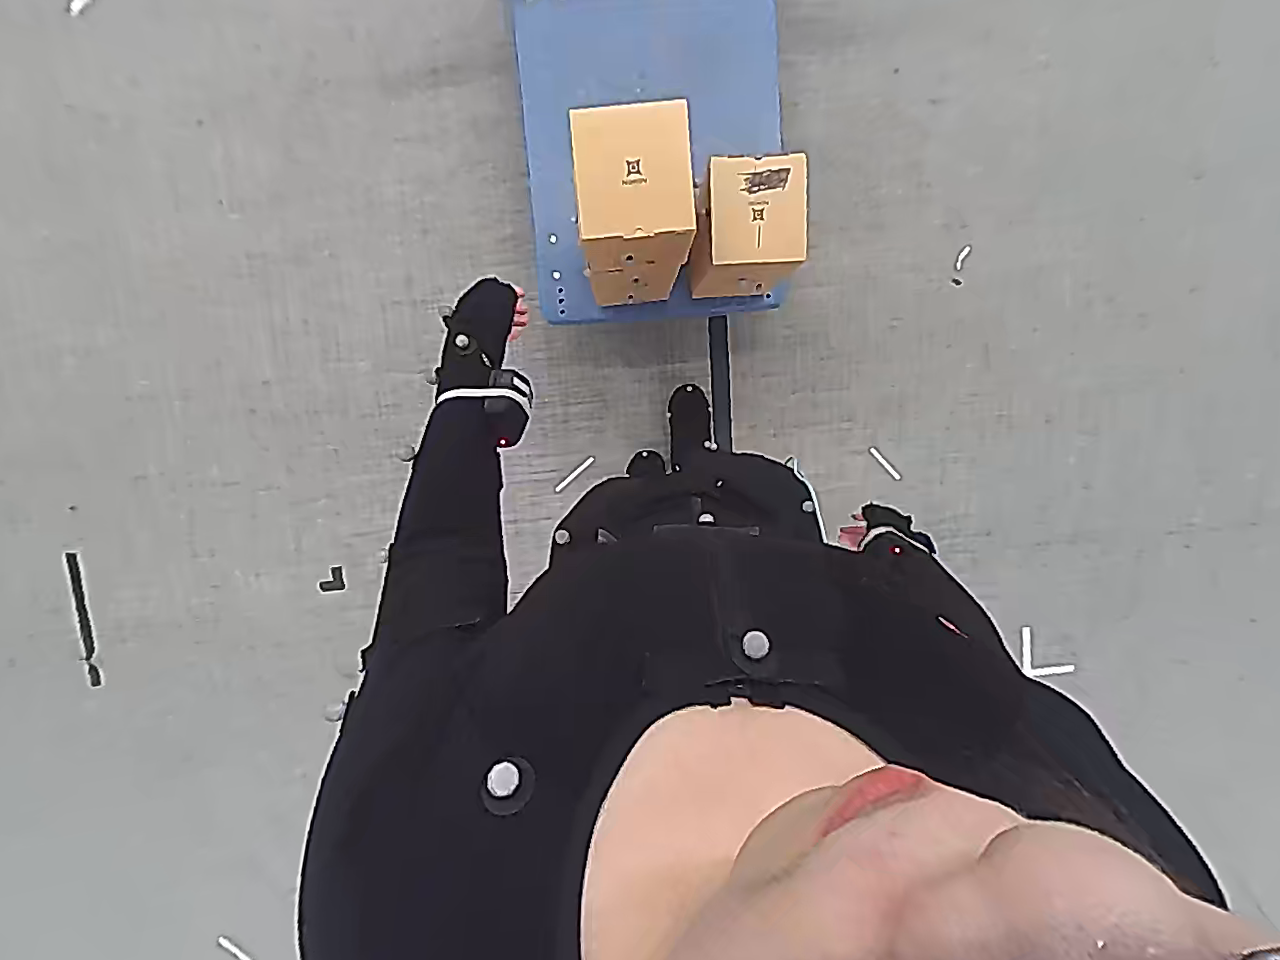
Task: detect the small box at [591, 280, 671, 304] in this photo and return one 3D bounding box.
[{"bbox_3d":[-0.024,-0.482,1.161,0.168,0.176,0.179,-6,97,-1],"label":"small box"}]

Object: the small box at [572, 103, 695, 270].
[{"bbox_3d":[-0.011,-0.441,0.836,0.168,0.176,0.179,-5,98,0],"label":"small box"}]

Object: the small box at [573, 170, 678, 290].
[{"bbox_3d":[-0.023,-0.458,0.998,0.168,0.176,0.179,-8,99,0],"label":"small box"}]

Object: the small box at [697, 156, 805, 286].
[{"bbox_3d":[0.198,-0.469,1.001,0.168,0.176,0.179,-3,98,0],"label":"small box"}]
